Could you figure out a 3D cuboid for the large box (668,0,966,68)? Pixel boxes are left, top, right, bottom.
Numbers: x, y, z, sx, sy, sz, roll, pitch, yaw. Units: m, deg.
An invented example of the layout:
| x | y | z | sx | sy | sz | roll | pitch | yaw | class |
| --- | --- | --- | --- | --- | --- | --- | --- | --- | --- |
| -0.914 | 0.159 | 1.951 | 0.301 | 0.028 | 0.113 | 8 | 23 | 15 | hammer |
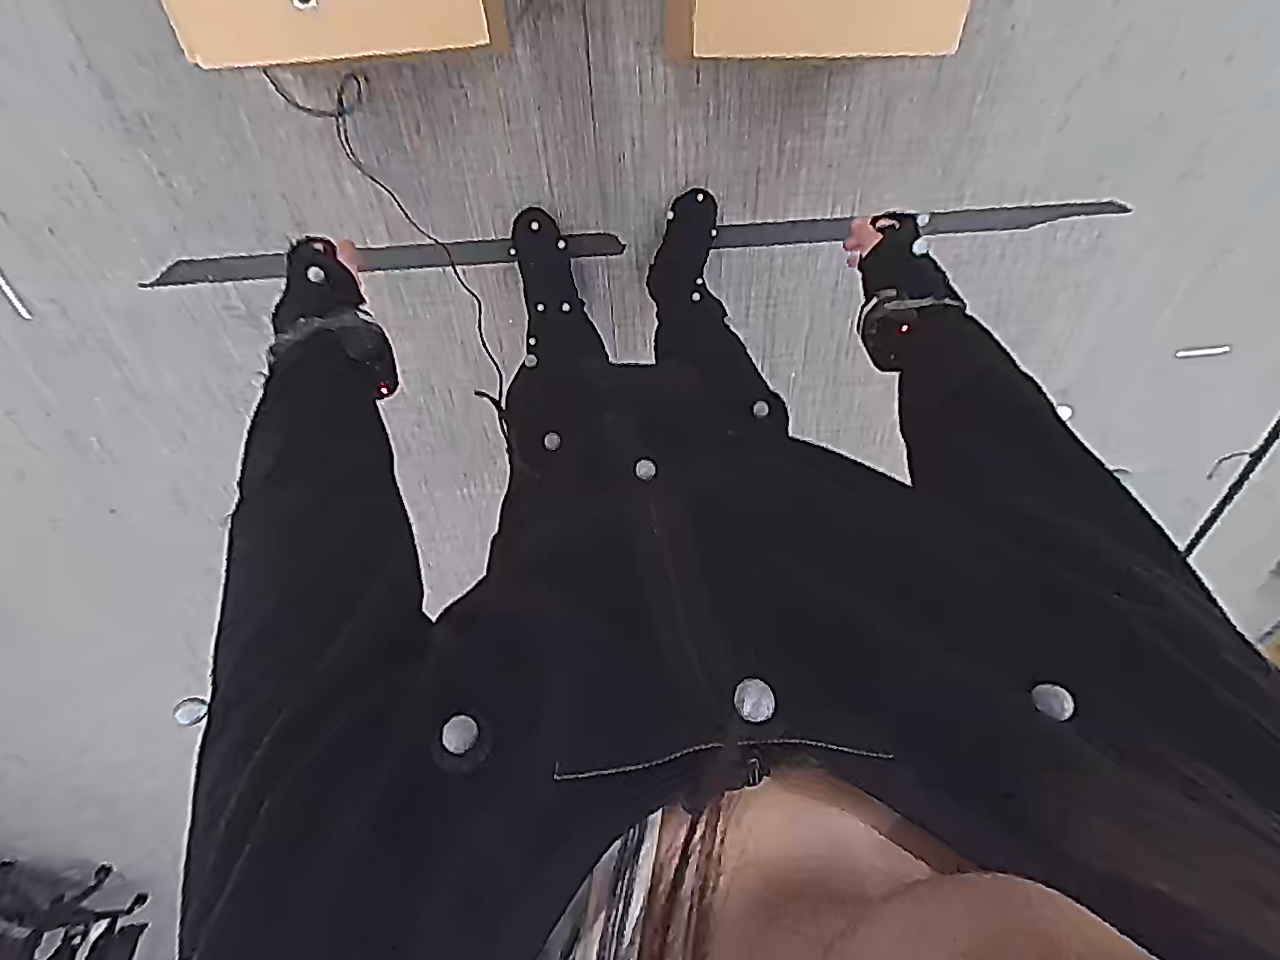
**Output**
| x | y | z | sx | sy | sz | roll | pitch | yaw | class |
| --- | --- | --- | --- | --- | --- | --- | --- | --- | --- |
| 0.260 | -0.845 | 0.839 | 0.408 | 0.320 | 0.320 | -4 | 126 | -5 | large box |
